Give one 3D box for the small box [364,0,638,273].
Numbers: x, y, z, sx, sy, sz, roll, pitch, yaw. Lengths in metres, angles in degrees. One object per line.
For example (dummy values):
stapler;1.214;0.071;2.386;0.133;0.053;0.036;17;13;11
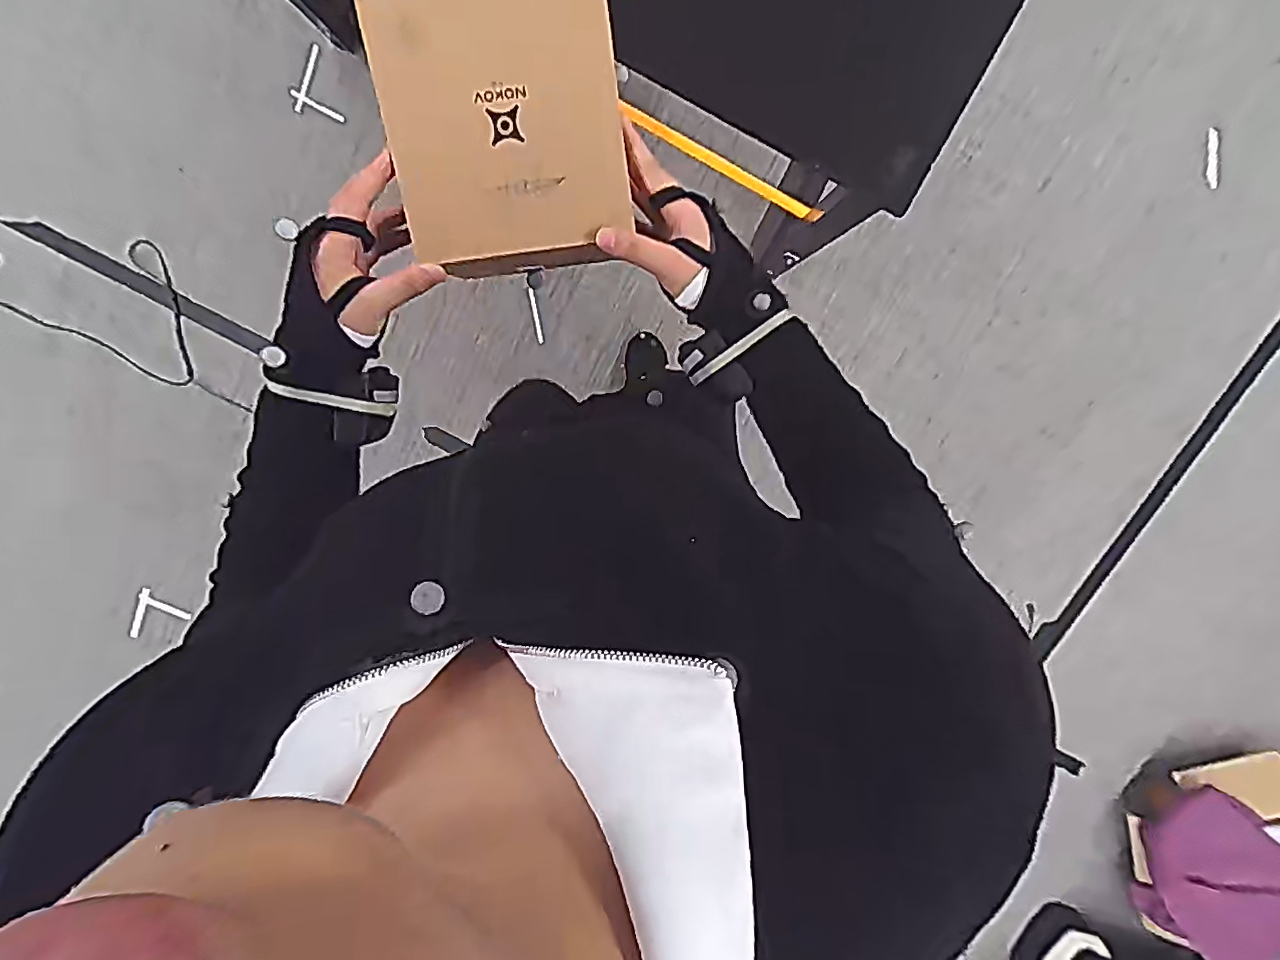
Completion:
small box;-0.098;-0.282;0.456;0.168;0.176;0.179;-9;108;-1
